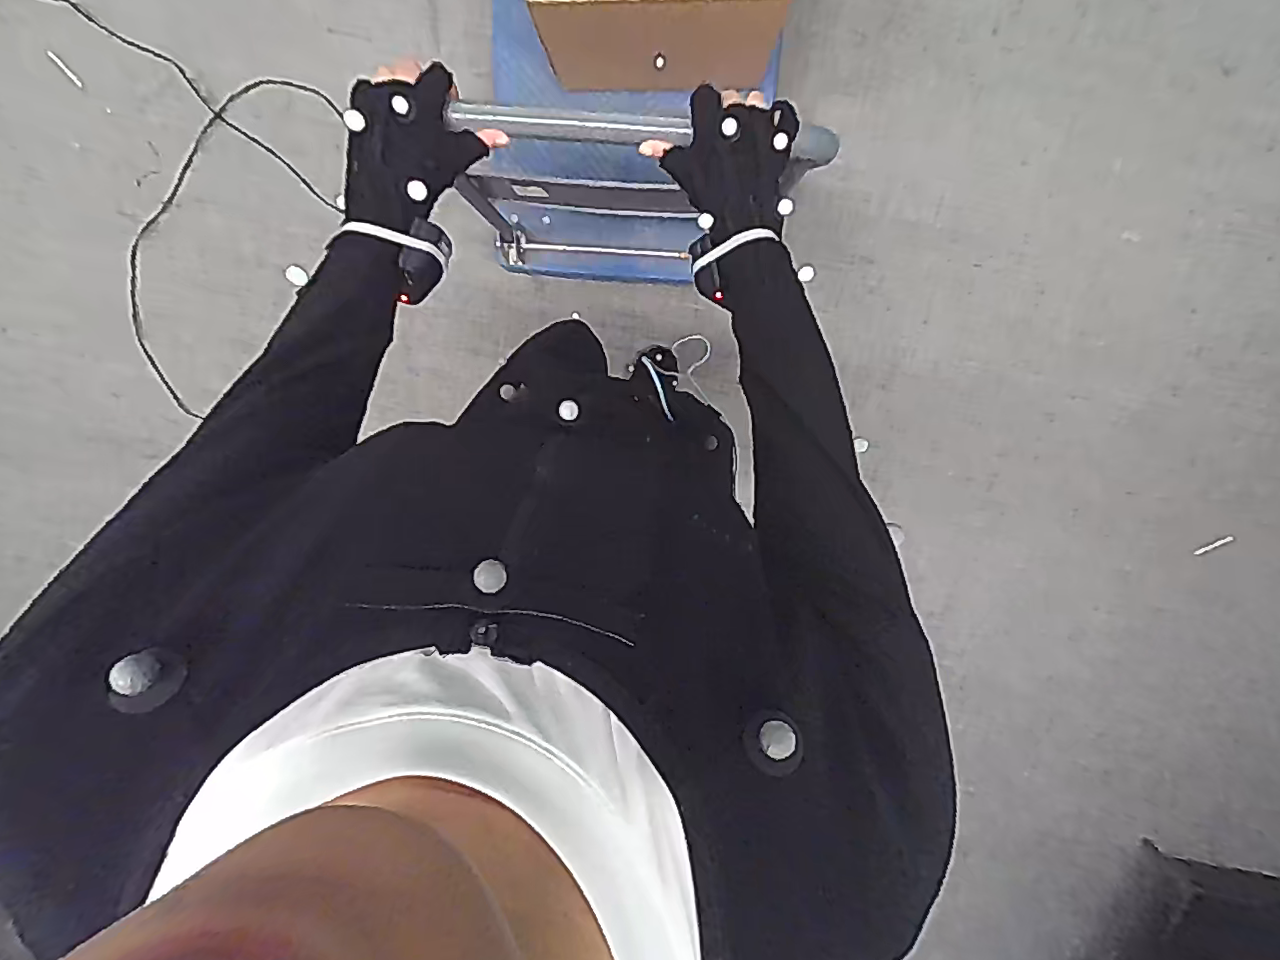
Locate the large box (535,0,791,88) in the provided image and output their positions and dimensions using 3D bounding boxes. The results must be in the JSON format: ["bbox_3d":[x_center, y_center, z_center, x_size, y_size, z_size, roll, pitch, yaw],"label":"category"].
[{"bbox_3d":[0.042,-0.919,0.927,0.408,0.320,0.320,0,104,4],"label":"large box"}]
